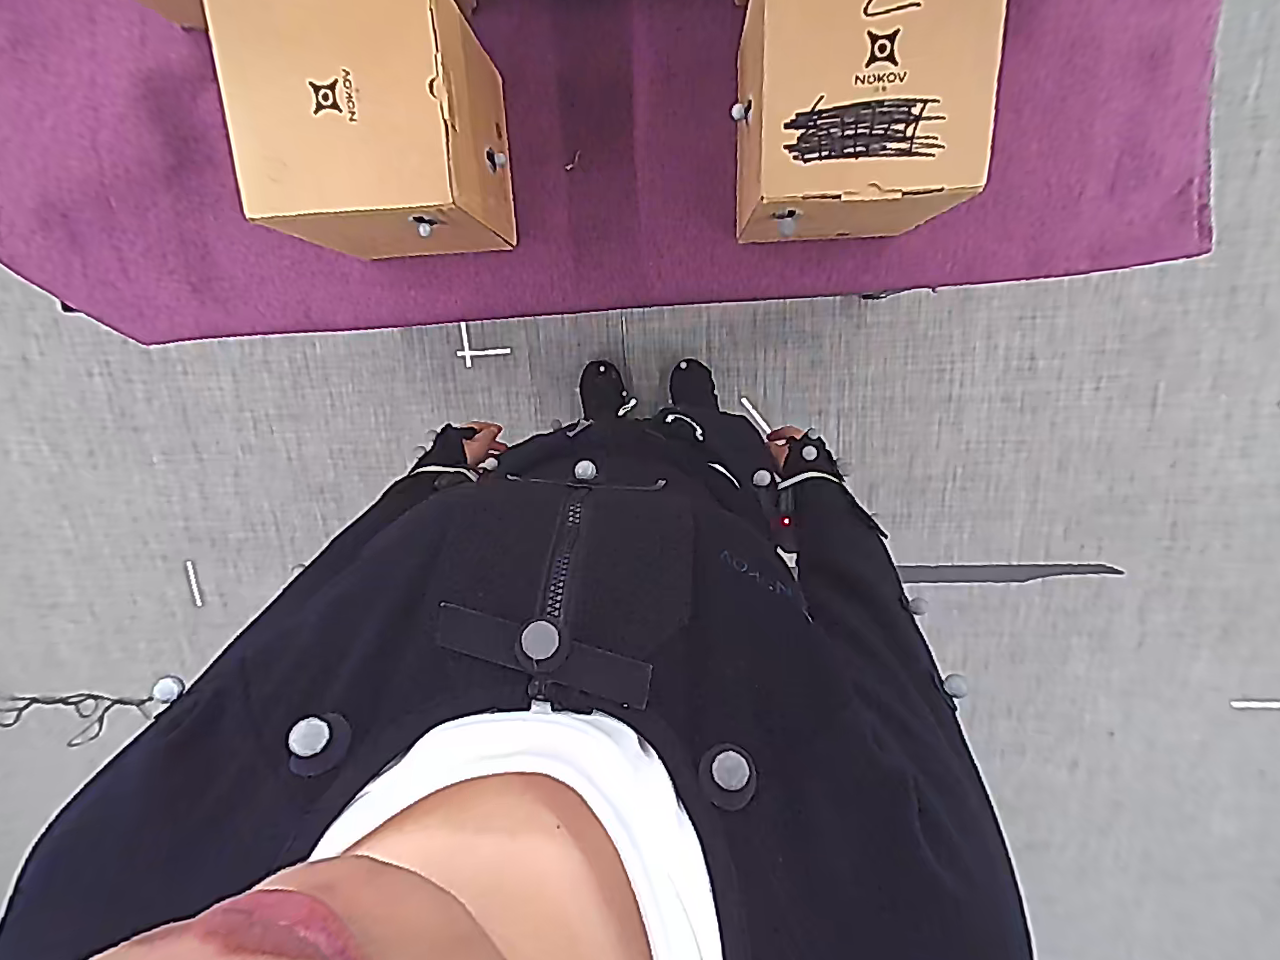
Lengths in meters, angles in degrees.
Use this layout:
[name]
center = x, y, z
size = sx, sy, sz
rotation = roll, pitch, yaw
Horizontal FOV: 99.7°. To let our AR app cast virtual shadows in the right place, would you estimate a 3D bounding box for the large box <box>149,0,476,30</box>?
[large box]
center = -0.326, -0.617, 0.357
size = 0.320, 0.320, 0.408
rotation = -1, 106, 4
